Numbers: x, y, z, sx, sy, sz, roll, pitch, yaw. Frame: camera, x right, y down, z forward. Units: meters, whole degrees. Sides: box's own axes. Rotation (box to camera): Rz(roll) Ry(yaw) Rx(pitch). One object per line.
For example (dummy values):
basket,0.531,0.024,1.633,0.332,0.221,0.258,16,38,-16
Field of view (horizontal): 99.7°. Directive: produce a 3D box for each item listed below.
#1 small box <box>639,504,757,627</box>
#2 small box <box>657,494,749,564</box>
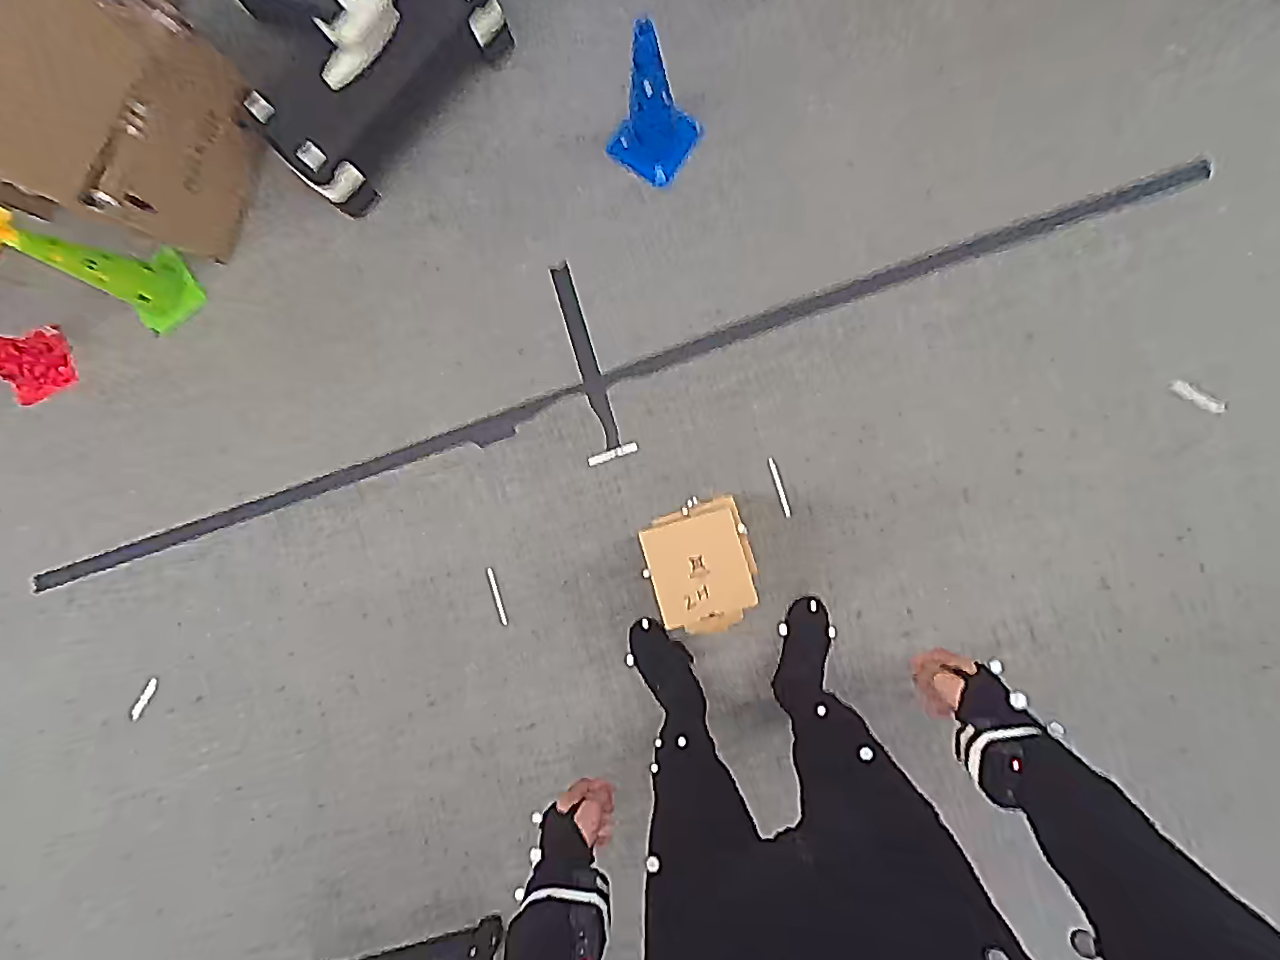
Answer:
small box,0.101,0.147,0.991,0.168,0.176,0.179,-17,88,4
small box,0.153,0.139,1.318,0.168,0.176,0.179,-22,87,5
